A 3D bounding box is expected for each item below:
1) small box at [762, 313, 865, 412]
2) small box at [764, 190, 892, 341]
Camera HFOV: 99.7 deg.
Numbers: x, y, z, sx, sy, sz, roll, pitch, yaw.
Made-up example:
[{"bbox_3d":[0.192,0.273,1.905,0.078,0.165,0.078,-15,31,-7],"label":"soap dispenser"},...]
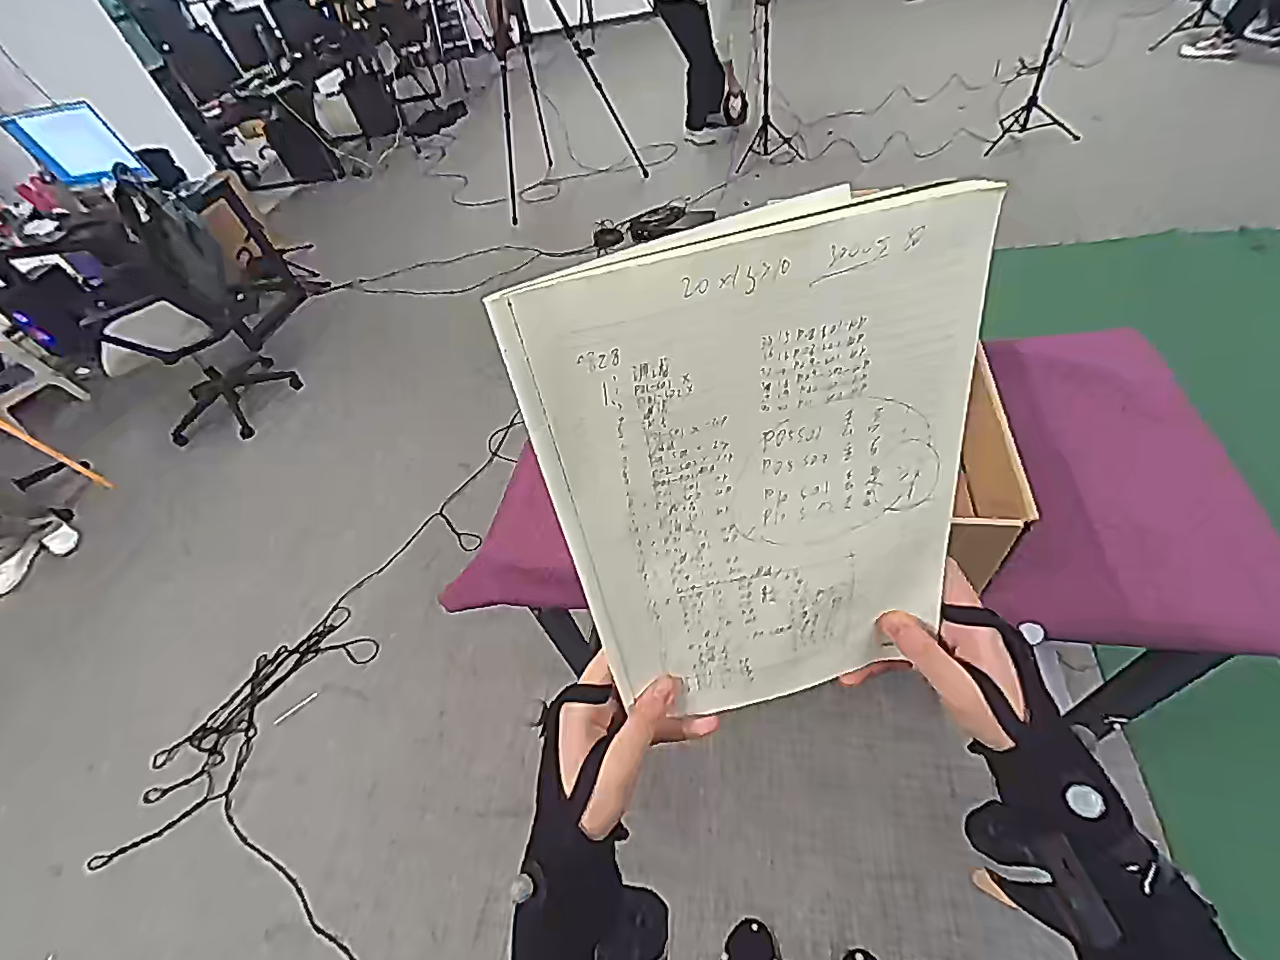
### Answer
[{"bbox_3d":[0.318,-0.241,1.003,0.168,0.176,0.179,2,52,15],"label":"small box"},{"bbox_3d":[0.294,-0.341,0.877,0.179,0.176,0.168,0,51,13],"label":"small box"}]
